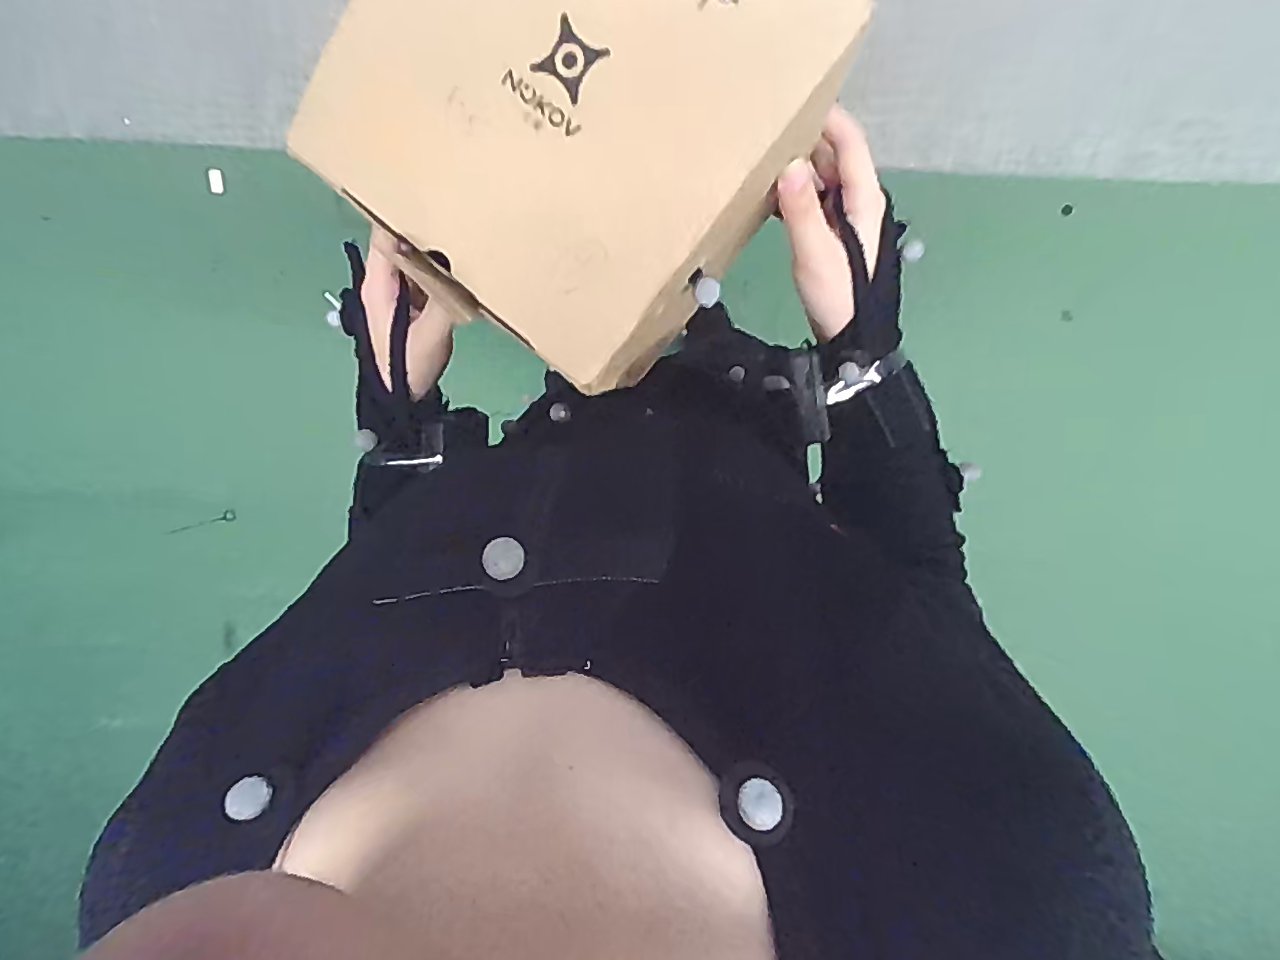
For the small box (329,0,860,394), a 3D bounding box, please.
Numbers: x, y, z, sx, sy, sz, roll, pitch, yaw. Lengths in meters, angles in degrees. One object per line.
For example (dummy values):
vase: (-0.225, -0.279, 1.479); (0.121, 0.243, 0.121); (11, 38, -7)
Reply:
small box: (-0.017, -0.168, 0.303); (0.168, 0.176, 0.179); (39, 103, -2)
